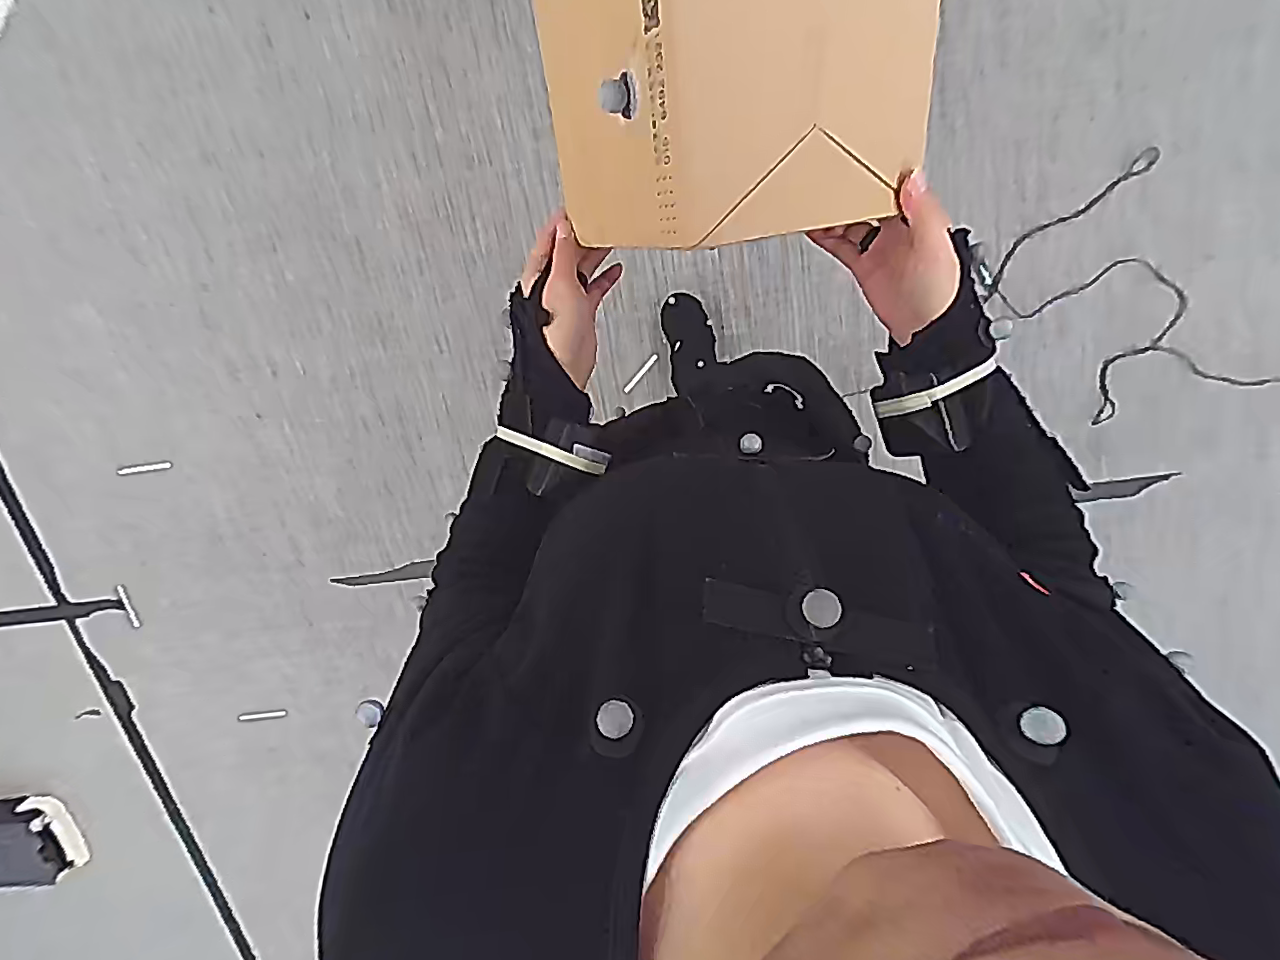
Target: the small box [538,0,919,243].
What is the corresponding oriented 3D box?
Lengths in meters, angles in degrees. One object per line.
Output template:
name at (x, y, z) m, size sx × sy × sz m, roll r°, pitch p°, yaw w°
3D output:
small box at (0.055, -0.251, 0.348) m, size 0.179 × 0.176 × 0.168 m, roll -19°, pitch 119°, yaw -23°
